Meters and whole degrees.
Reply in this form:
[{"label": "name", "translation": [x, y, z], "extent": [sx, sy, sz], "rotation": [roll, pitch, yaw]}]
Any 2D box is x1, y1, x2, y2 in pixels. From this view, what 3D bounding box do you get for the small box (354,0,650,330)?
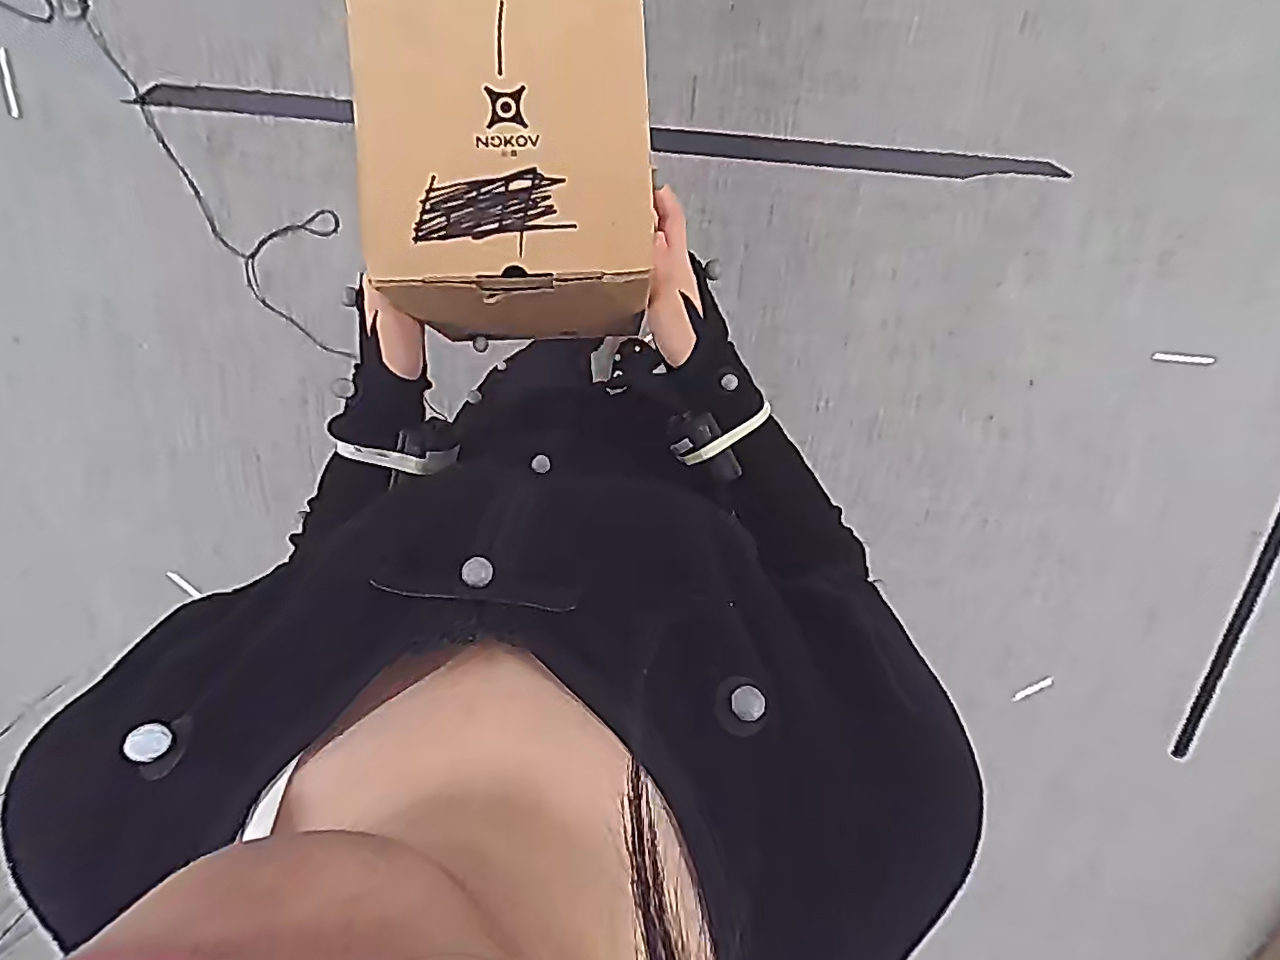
[{"label": "small box", "translation": [-0.080, -0.209, 0.388], "extent": [0.168, 0.176, 0.179], "rotation": [-2, 92, -4]}]
